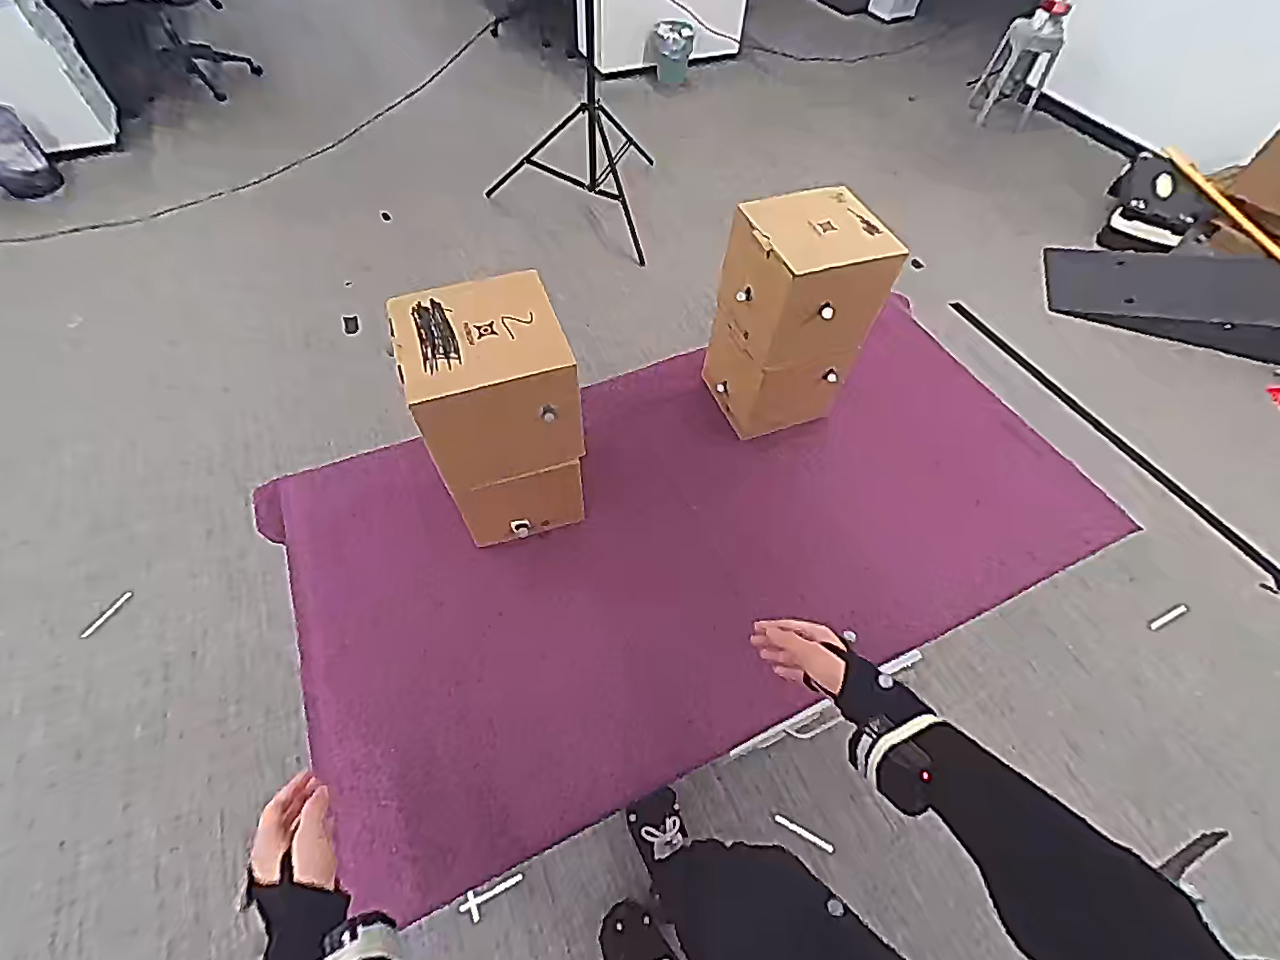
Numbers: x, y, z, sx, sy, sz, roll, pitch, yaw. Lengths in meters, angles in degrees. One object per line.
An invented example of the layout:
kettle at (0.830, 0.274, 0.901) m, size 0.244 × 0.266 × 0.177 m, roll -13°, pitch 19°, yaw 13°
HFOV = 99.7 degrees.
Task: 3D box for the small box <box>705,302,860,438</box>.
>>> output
small box at (0.229, -0.199, 0.922) m, size 0.179 × 0.176 × 0.168 m, roll -17°, pitch 59°, yaw -13°

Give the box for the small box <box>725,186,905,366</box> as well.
small box at (0.234, -0.289, 0.785) m, size 0.179 × 0.176 × 0.168 m, roll -16°, pitch 60°, yaw -12°

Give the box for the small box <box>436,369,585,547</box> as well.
small box at (-0.183, -0.029, 0.790) m, size 0.168 × 0.176 × 0.179 m, roll -16°, pitch 61°, yaw -12°
